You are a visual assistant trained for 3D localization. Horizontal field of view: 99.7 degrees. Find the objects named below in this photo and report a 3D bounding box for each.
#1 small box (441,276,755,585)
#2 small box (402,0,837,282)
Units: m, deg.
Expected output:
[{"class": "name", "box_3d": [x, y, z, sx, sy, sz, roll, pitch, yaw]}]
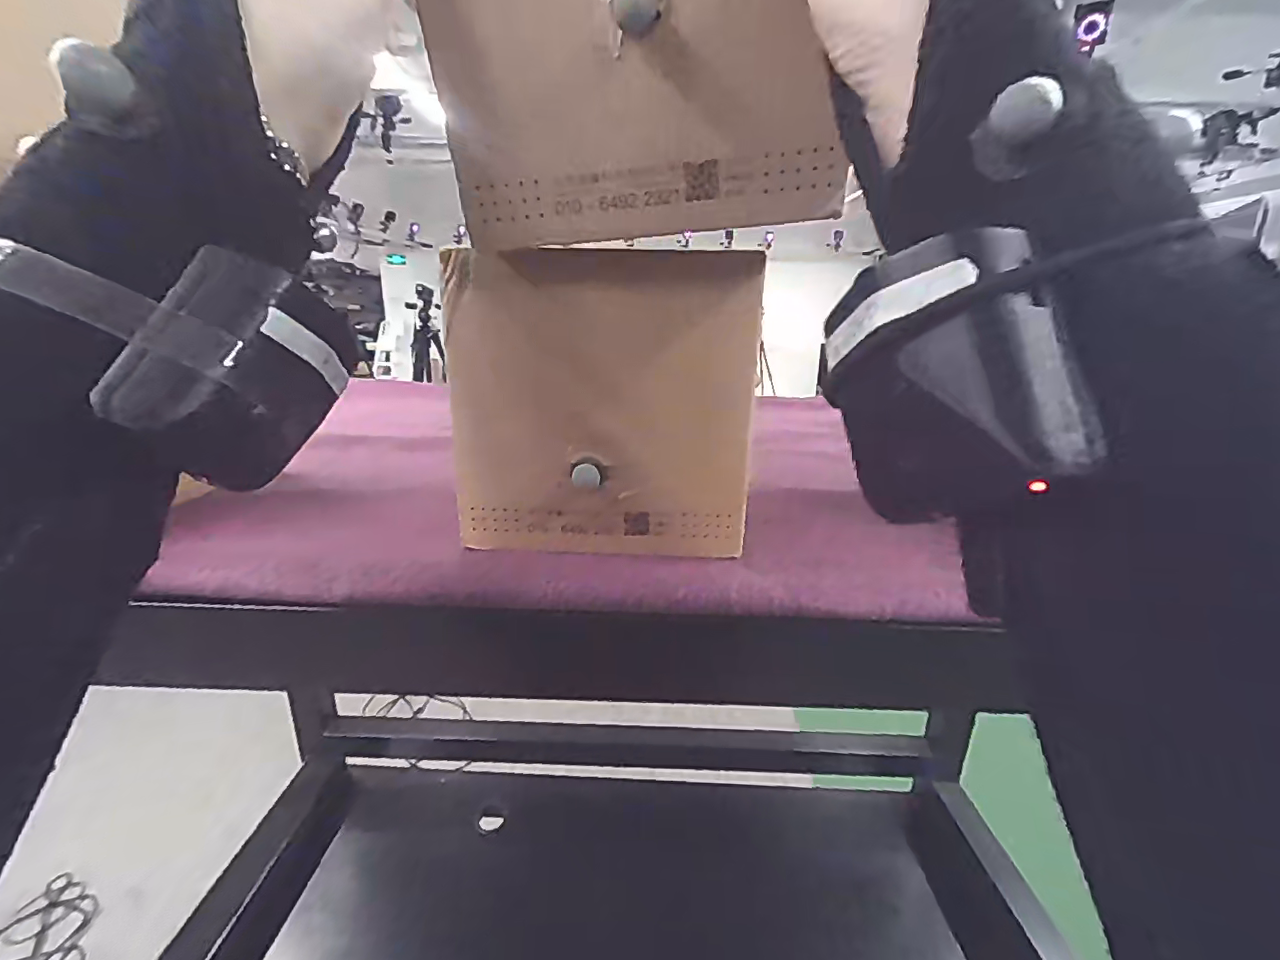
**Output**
[{"class": "small box", "box_3d": [-0.021, -0.046, 0.376, 0.168, 0.176, 0.179, 2, 19, 2]}, {"class": "small box", "box_3d": [-0.001, -0.201, 0.275, 0.168, 0.176, 0.179, -3, 30, 6]}]
